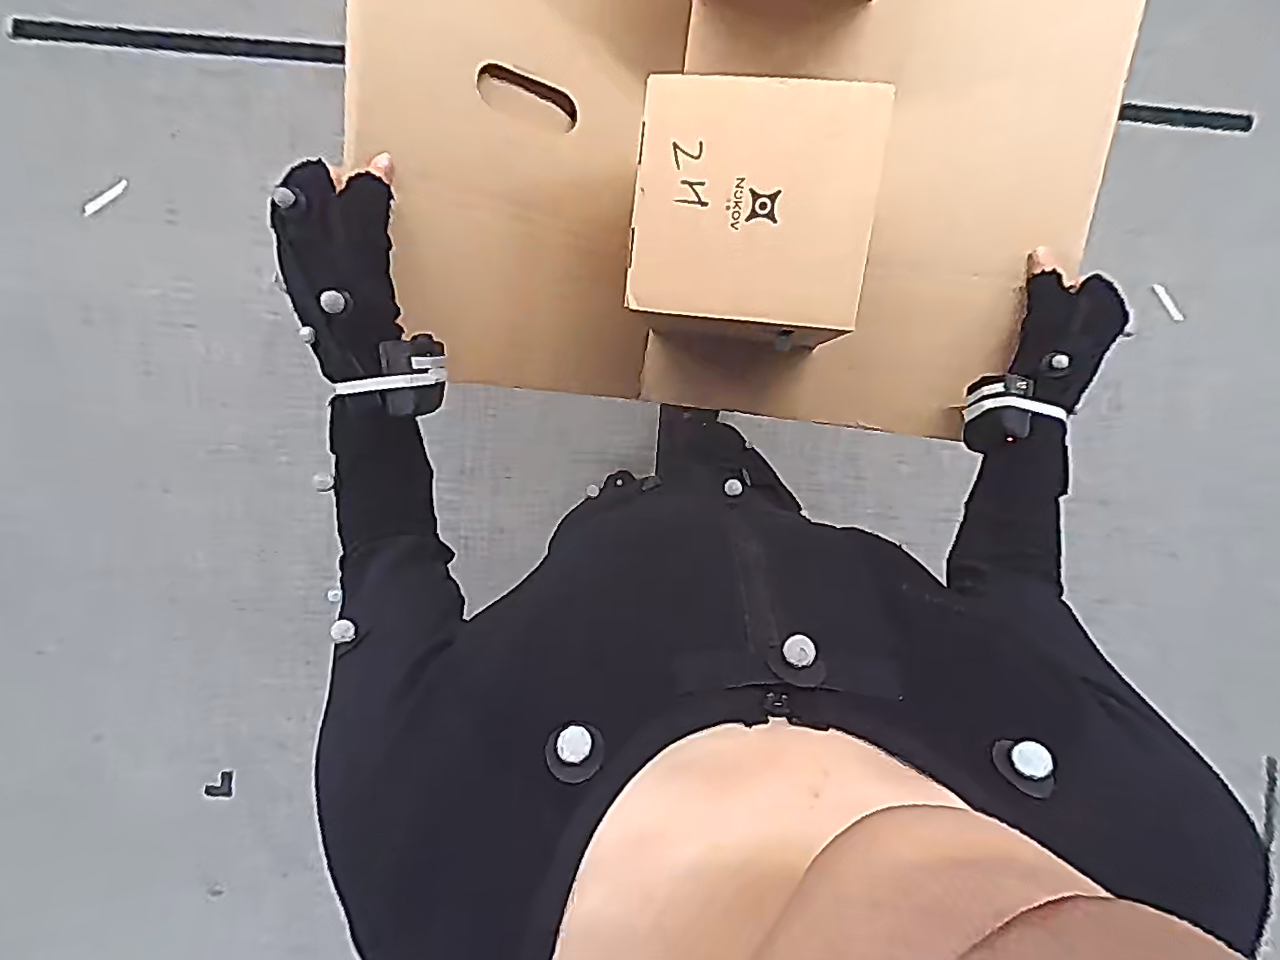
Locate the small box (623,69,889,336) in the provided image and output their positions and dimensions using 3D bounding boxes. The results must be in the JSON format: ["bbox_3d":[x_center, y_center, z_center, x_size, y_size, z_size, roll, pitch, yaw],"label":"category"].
[{"bbox_3d":[0.092,-0.225,0.482,0.179,0.176,0.168,8,101,8],"label":"small box"}]
